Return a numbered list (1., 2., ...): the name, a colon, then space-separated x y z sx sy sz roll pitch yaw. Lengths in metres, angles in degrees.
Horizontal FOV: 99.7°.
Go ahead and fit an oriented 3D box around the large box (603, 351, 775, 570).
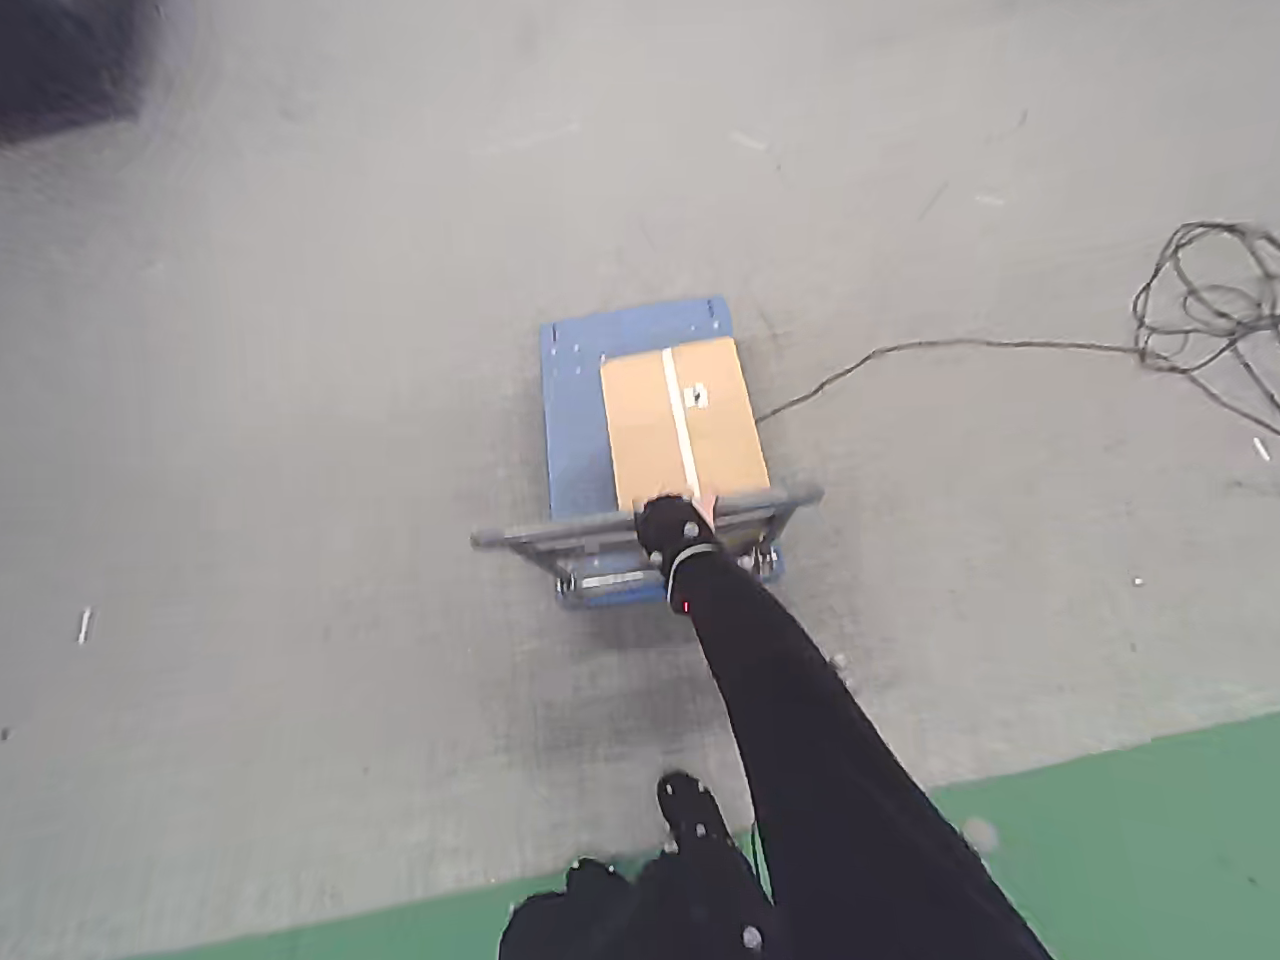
1. large box: 0.112 -0.033 1.306 0.320 0.320 0.408 -10 67 2
